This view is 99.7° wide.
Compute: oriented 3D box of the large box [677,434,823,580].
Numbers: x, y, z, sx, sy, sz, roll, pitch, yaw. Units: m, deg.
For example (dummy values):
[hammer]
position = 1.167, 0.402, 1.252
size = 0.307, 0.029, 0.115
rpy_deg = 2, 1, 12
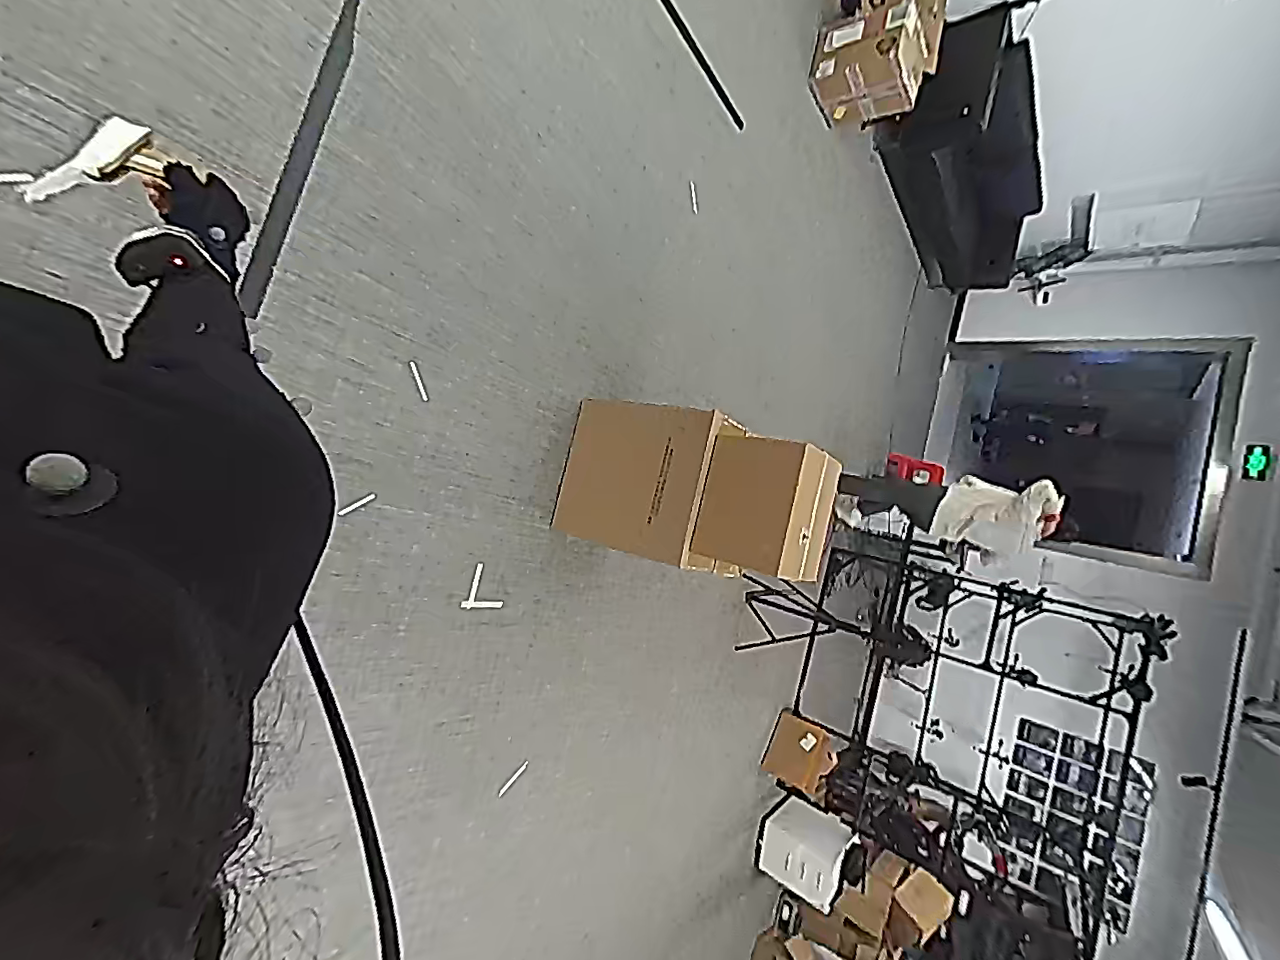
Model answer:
[large box]
position = 0.362, 0.088, 1.768
size = 0.320, 0.320, 0.408
rpy_deg = 18, 86, -51
